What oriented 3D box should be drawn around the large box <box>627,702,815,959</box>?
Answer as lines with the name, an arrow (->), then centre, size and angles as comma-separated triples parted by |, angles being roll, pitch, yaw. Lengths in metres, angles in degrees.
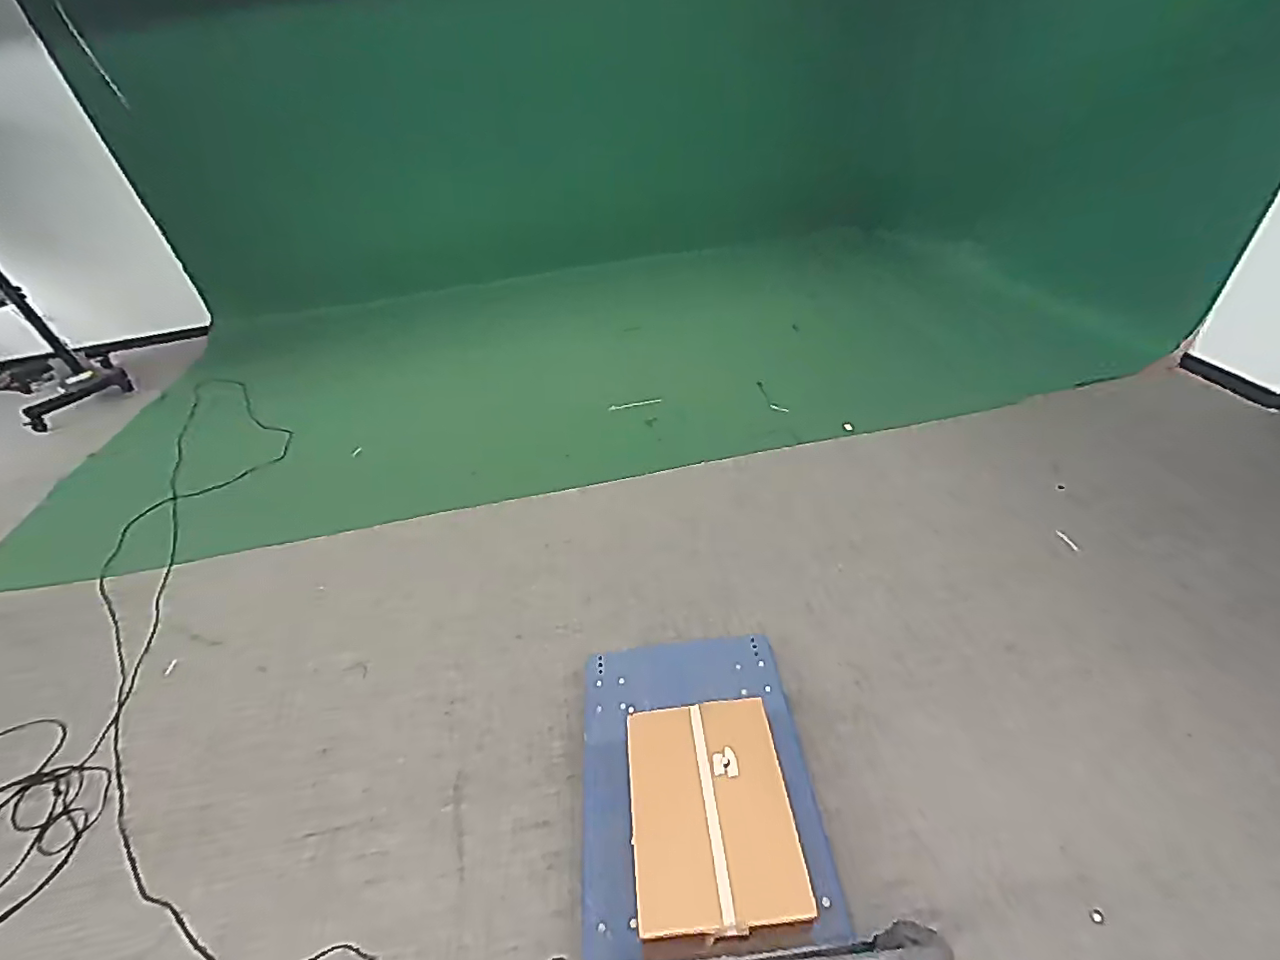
large box -> 0.156, 0.769, 1.179 | 0.320, 0.320, 0.408 | -7, 38, 0
